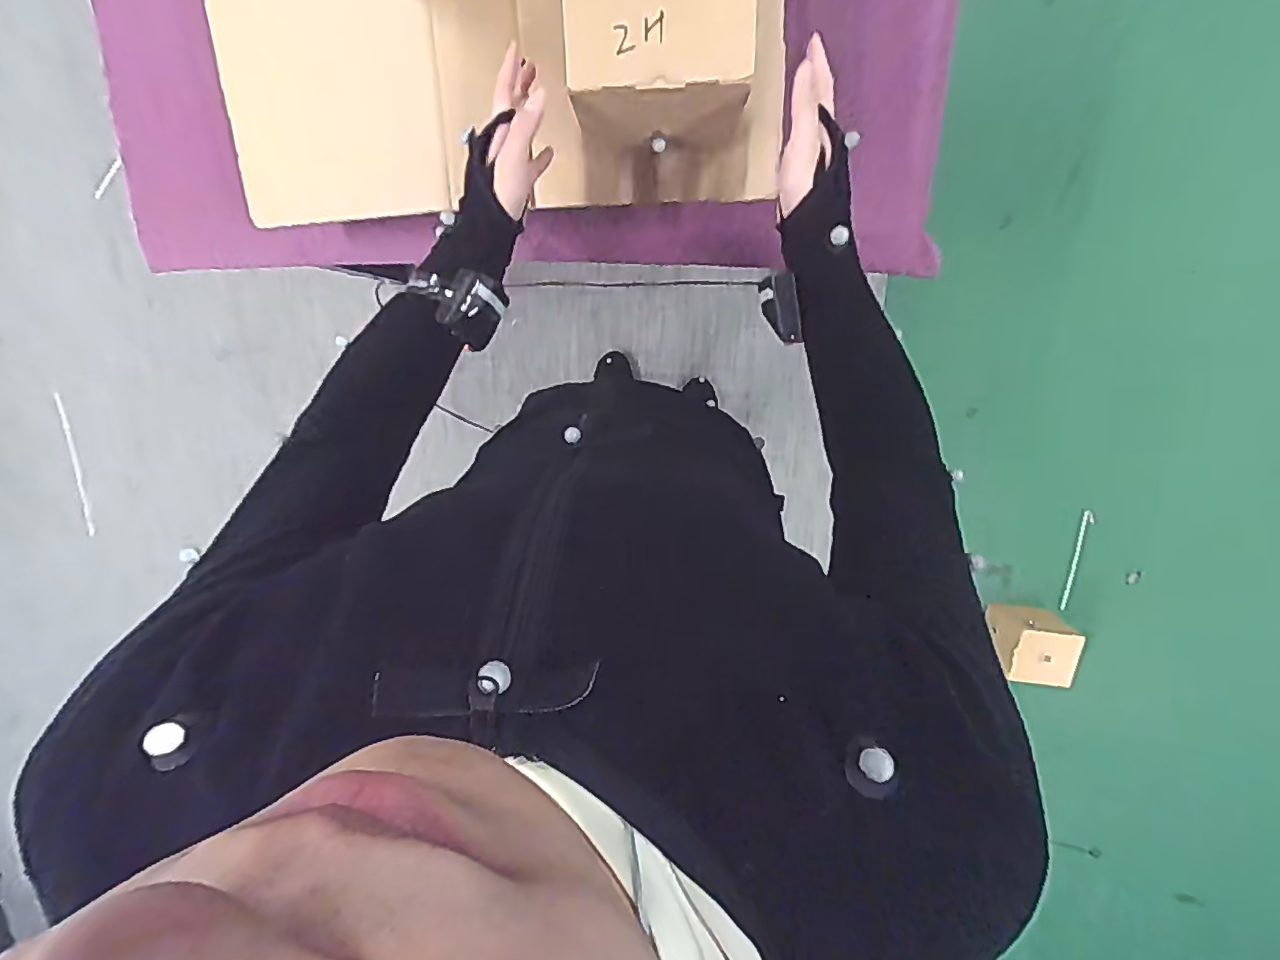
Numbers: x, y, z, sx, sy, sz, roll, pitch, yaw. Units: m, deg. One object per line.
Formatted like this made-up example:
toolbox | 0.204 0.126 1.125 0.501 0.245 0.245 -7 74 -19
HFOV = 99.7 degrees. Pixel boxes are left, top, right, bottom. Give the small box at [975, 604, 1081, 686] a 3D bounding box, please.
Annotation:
small box | 1.142 0.484 1.605 0.179 0.176 0.168 6 105 3
